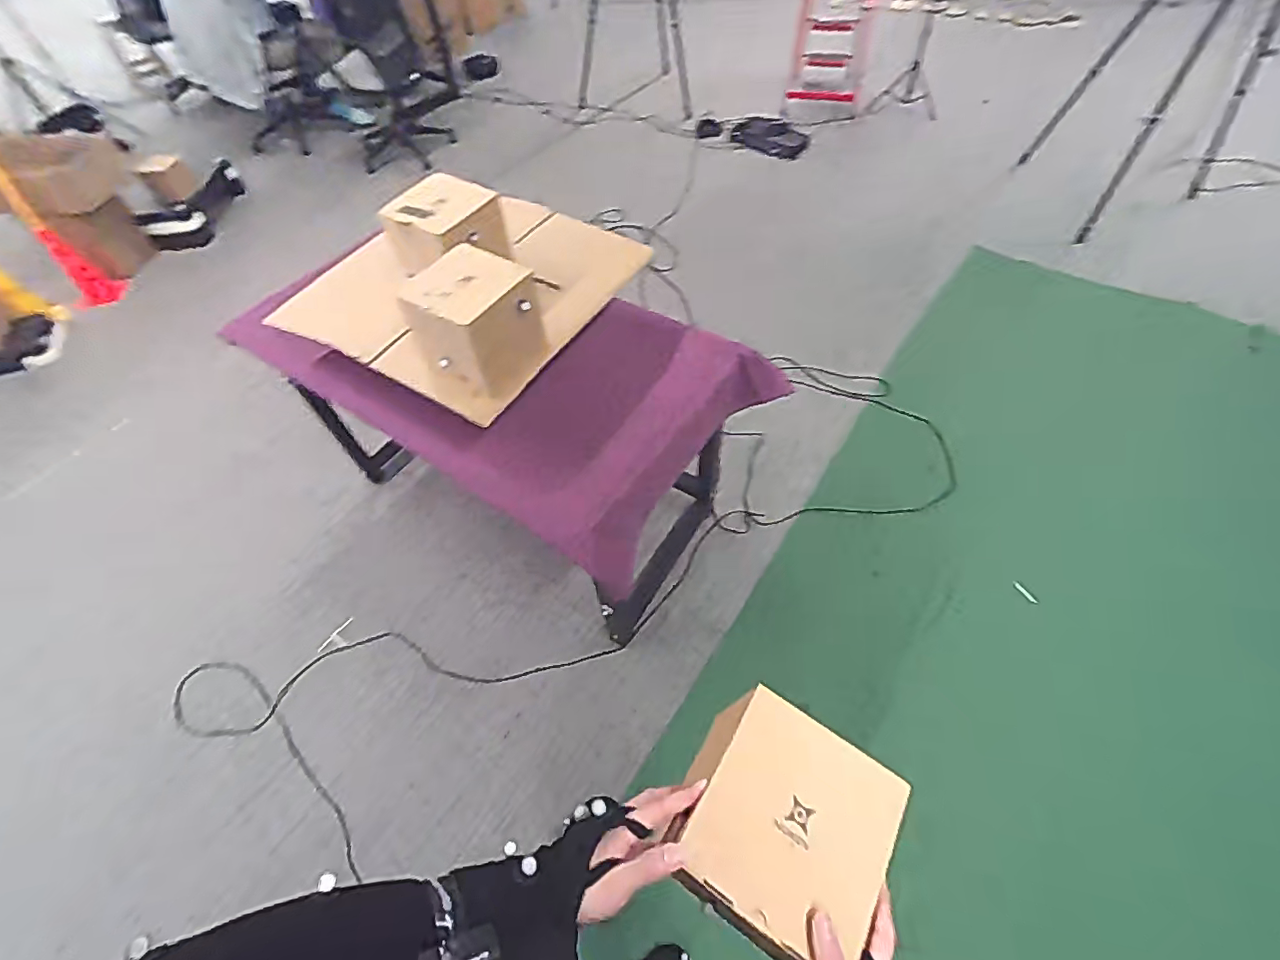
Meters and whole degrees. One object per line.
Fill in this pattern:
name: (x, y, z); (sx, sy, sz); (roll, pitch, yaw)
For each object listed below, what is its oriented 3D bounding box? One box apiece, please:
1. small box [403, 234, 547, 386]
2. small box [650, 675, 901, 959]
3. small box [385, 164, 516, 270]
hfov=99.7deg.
small box: (-0.286, -0.307, 0.987); (0.168, 0.176, 0.179); (28, 62, 18)
small box: (0.125, 0.335, 0.550); (0.168, 0.176, 0.179); (31, 59, 11)
small box: (-0.379, -0.515, 1.123); (0.168, 0.176, 0.179); (27, 61, 17)
